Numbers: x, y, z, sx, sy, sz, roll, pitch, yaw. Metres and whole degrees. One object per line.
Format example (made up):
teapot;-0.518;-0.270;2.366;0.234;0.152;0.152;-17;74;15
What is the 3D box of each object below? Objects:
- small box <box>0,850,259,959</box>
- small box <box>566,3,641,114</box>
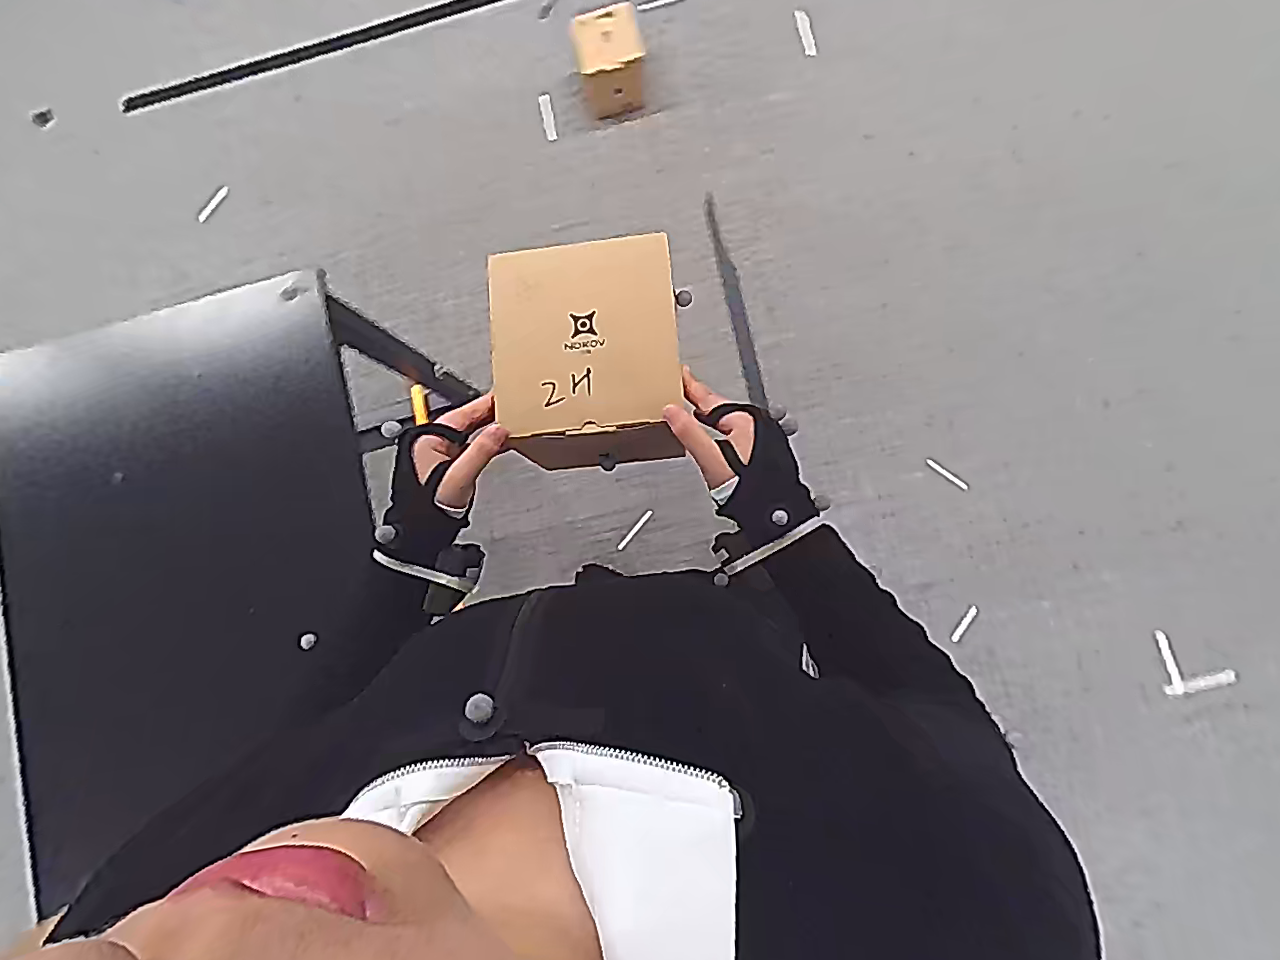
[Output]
small box;-0.521;0.521;0.537;0.168;0.176;0.179;-18;84;3
small box;-0.097;-1.187;1.542;0.168;0.176;0.179;-15;85;3
